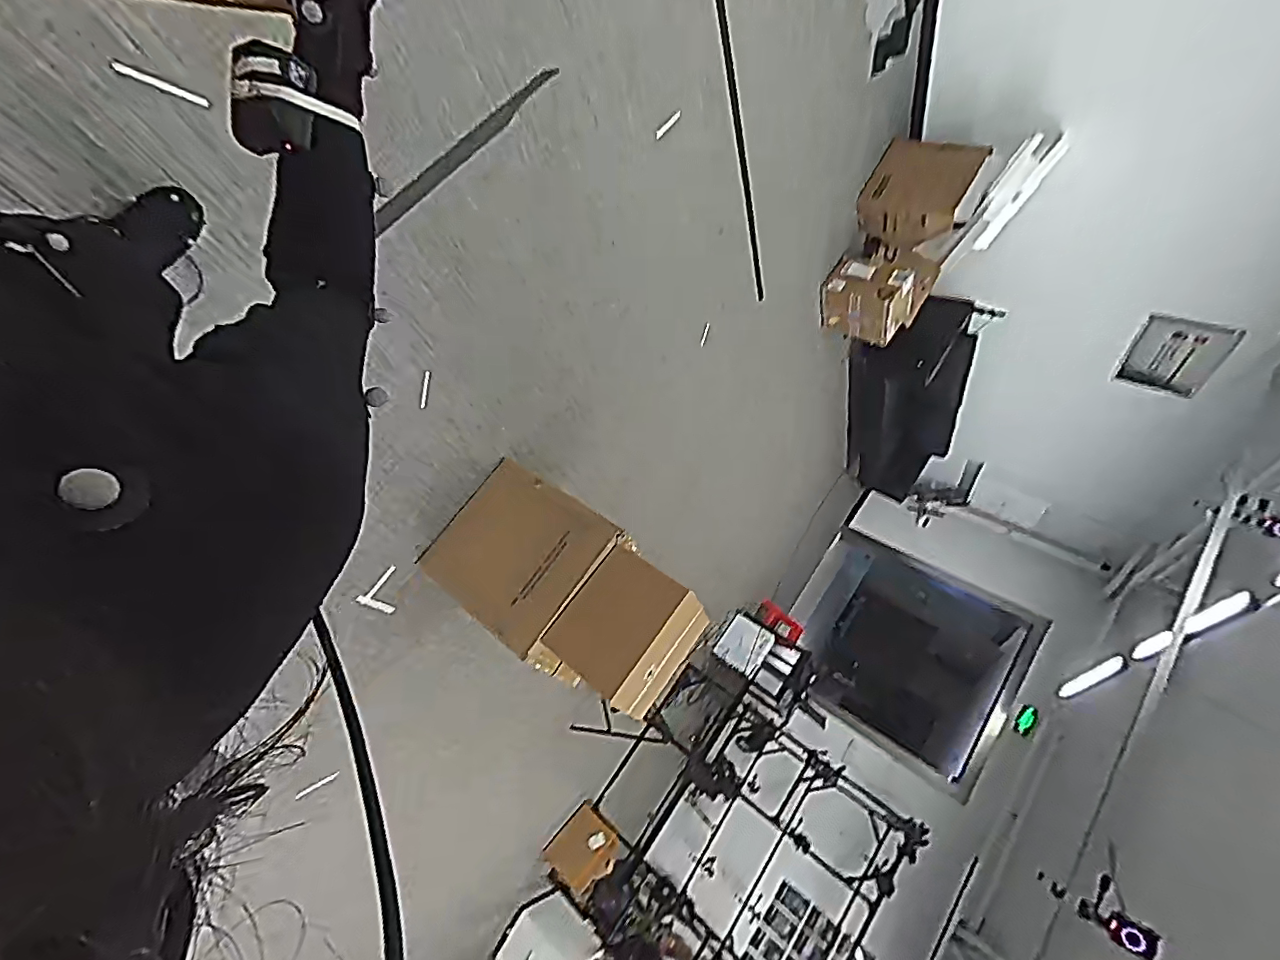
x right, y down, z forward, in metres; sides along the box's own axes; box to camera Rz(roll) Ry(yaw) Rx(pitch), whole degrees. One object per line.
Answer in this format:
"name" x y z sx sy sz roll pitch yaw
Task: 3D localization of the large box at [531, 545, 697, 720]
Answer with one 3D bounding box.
"large box" -0.070 0.493 1.760 0.408 0.320 0.320 -50 146 -16
